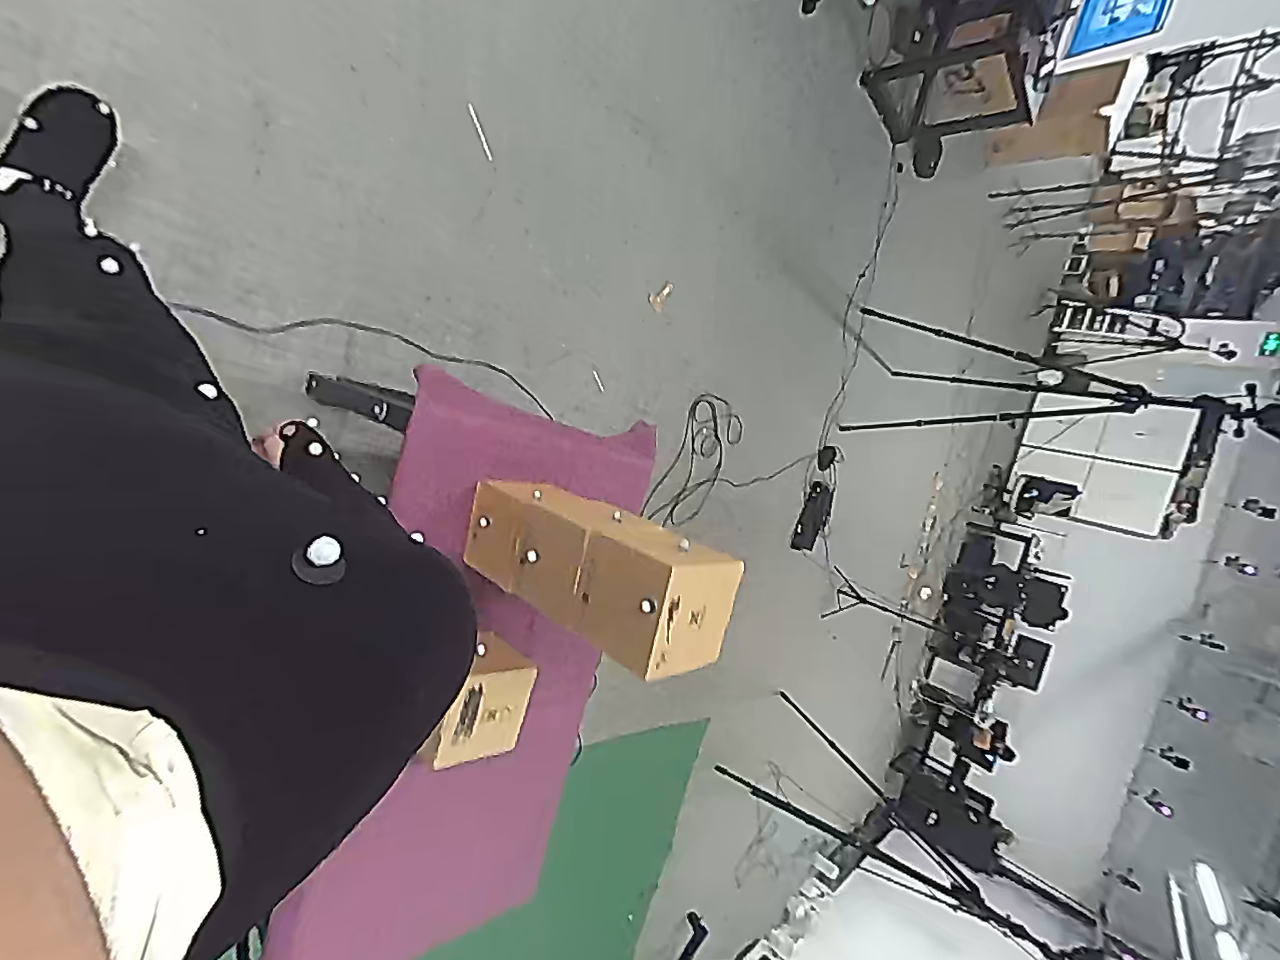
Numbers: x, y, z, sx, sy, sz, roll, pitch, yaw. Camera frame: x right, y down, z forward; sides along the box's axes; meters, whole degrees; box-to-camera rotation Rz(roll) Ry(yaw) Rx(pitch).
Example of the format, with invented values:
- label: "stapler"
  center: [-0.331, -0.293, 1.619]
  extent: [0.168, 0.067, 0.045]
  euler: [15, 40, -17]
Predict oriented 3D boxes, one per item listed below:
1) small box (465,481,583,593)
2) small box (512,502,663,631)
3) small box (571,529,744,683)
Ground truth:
- label: "small box"
  center: [-0.207, 0.103, 1.040]
  extent: [0.179, 0.176, 0.168]
  euler: [5, 101, -47]
- label: "small box"
  center: [-0.091, 0.137, 0.929]
  extent: [0.179, 0.176, 0.168]
  euler: [3, 101, -47]
- label: "small box"
  center: [0.026, 0.177, 0.821]
  extent: [0.179, 0.176, 0.168]
  euler: [7, 99, -48]
